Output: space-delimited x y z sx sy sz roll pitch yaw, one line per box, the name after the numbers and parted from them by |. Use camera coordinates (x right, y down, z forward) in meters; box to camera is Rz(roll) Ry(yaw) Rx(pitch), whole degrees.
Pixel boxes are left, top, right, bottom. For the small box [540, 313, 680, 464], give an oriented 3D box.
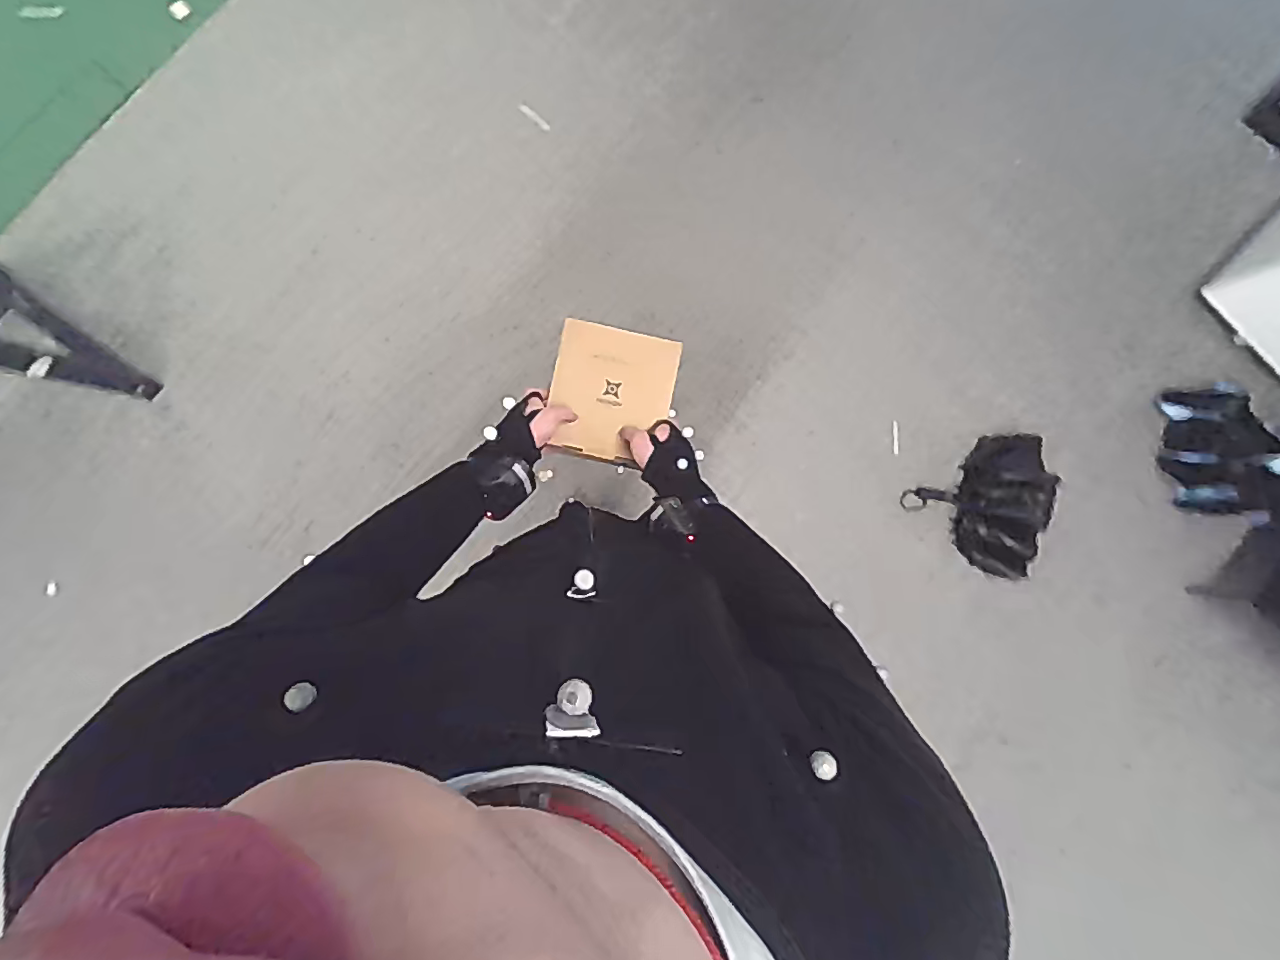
-0.046 -0.124 0.811 0.168 0.176 0.179 10 86 -5 | small box
